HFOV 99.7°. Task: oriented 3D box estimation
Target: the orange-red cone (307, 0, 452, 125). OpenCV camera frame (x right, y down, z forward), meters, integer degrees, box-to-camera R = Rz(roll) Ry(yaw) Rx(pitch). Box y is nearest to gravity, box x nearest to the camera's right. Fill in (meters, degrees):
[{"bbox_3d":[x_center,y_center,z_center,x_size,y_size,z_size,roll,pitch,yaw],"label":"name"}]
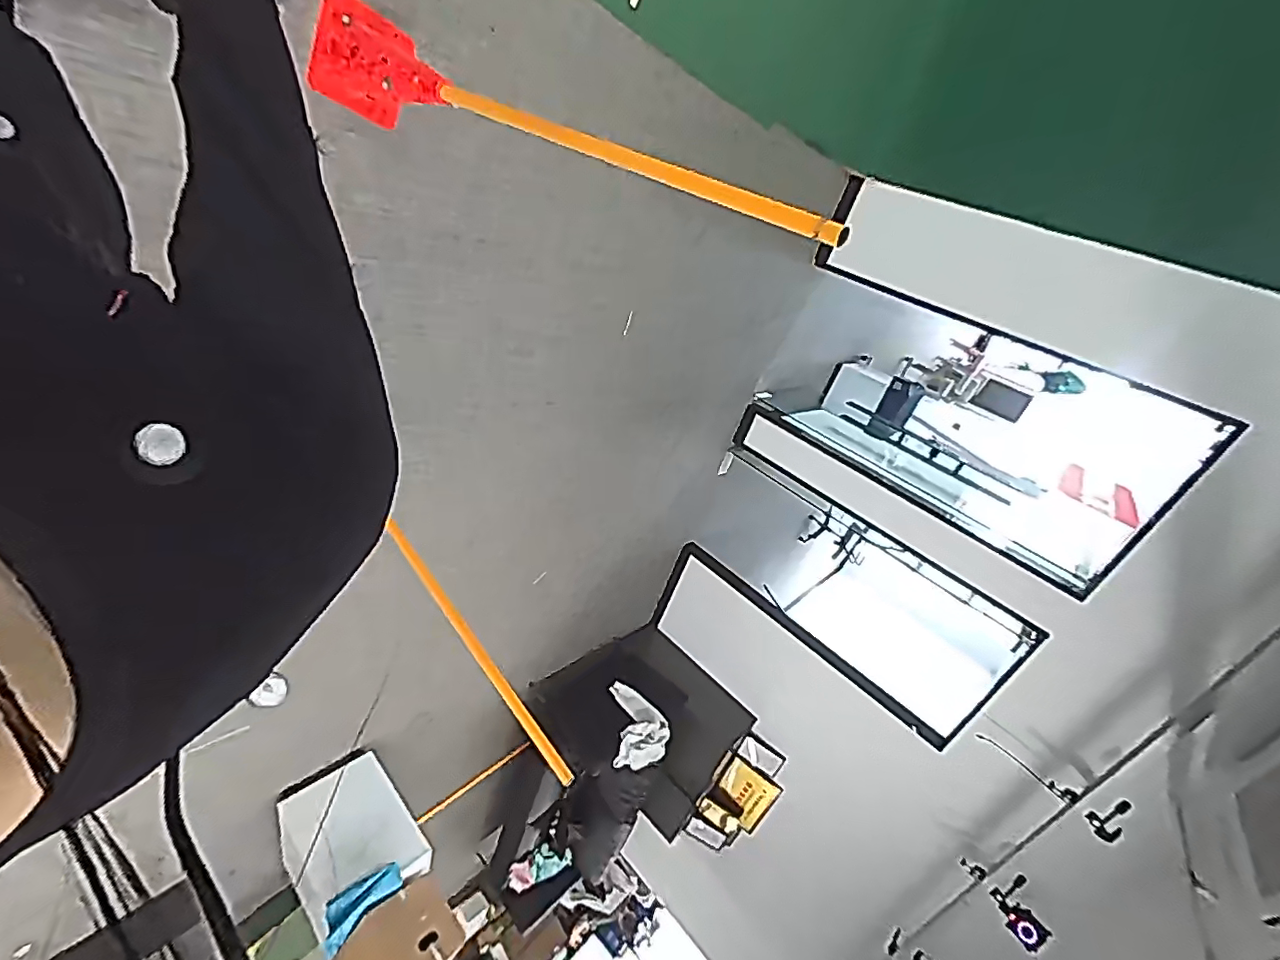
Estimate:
[{"bbox_3d":[-0.489,-0.830,1.103,0.198,0.360,0.199,2,121,-55],"label":"orange-red cone"}]
